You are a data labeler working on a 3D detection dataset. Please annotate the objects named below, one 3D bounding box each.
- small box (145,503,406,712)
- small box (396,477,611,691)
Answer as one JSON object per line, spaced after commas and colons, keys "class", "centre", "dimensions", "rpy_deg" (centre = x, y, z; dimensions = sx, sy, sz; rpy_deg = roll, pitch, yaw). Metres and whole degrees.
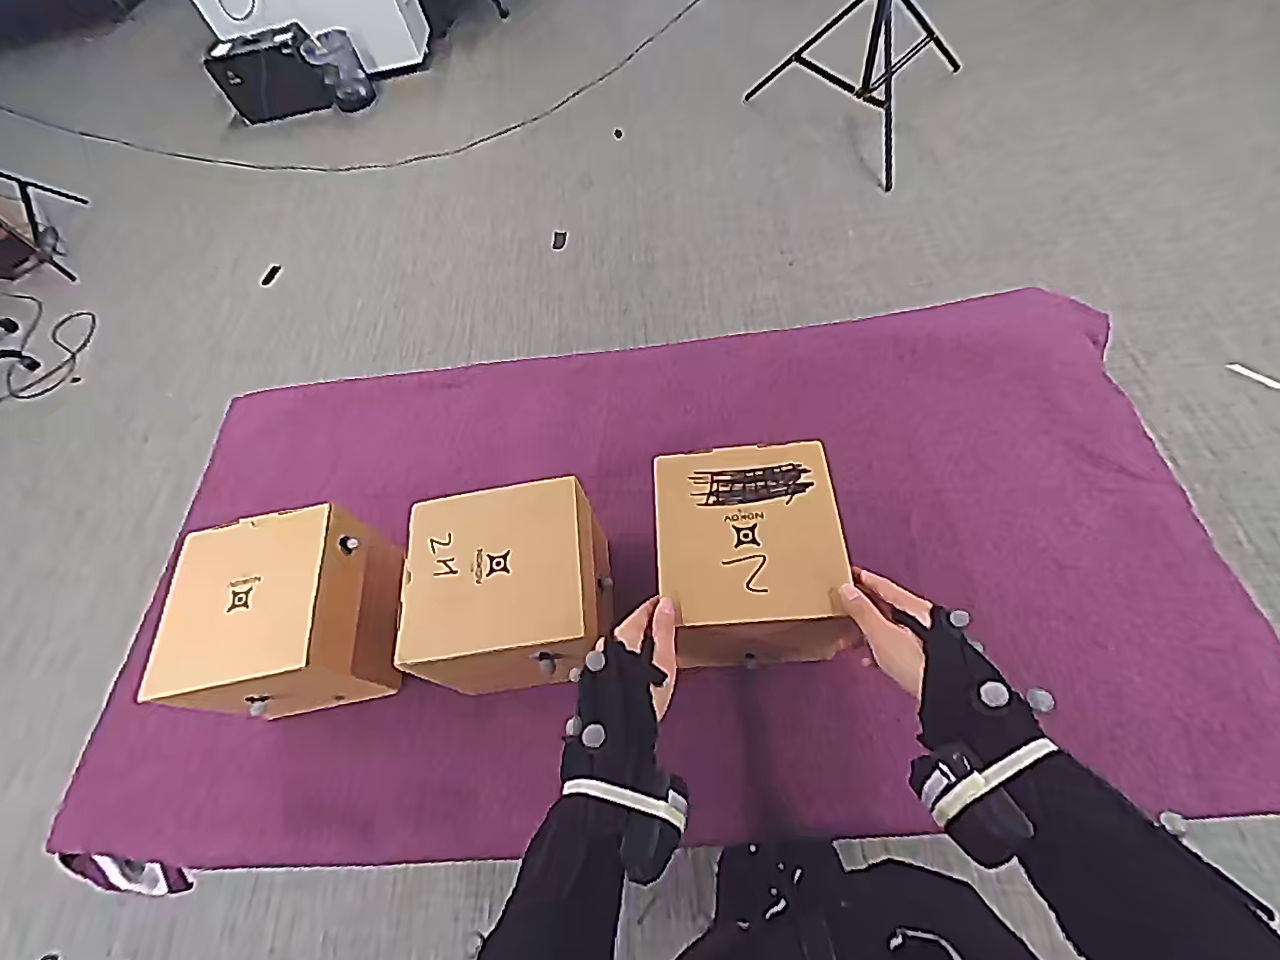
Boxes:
{"class": "small box", "centre": [-0.382, 0.153, 0.608], "dimensions": [0.168, 0.176, 0.179], "rpy_deg": [-13, 59, 2]}
{"class": "small box", "centre": [-0.130, 0.119, 0.581], "dimensions": [0.179, 0.176, 0.168], "rpy_deg": [-10, 58, 3]}
